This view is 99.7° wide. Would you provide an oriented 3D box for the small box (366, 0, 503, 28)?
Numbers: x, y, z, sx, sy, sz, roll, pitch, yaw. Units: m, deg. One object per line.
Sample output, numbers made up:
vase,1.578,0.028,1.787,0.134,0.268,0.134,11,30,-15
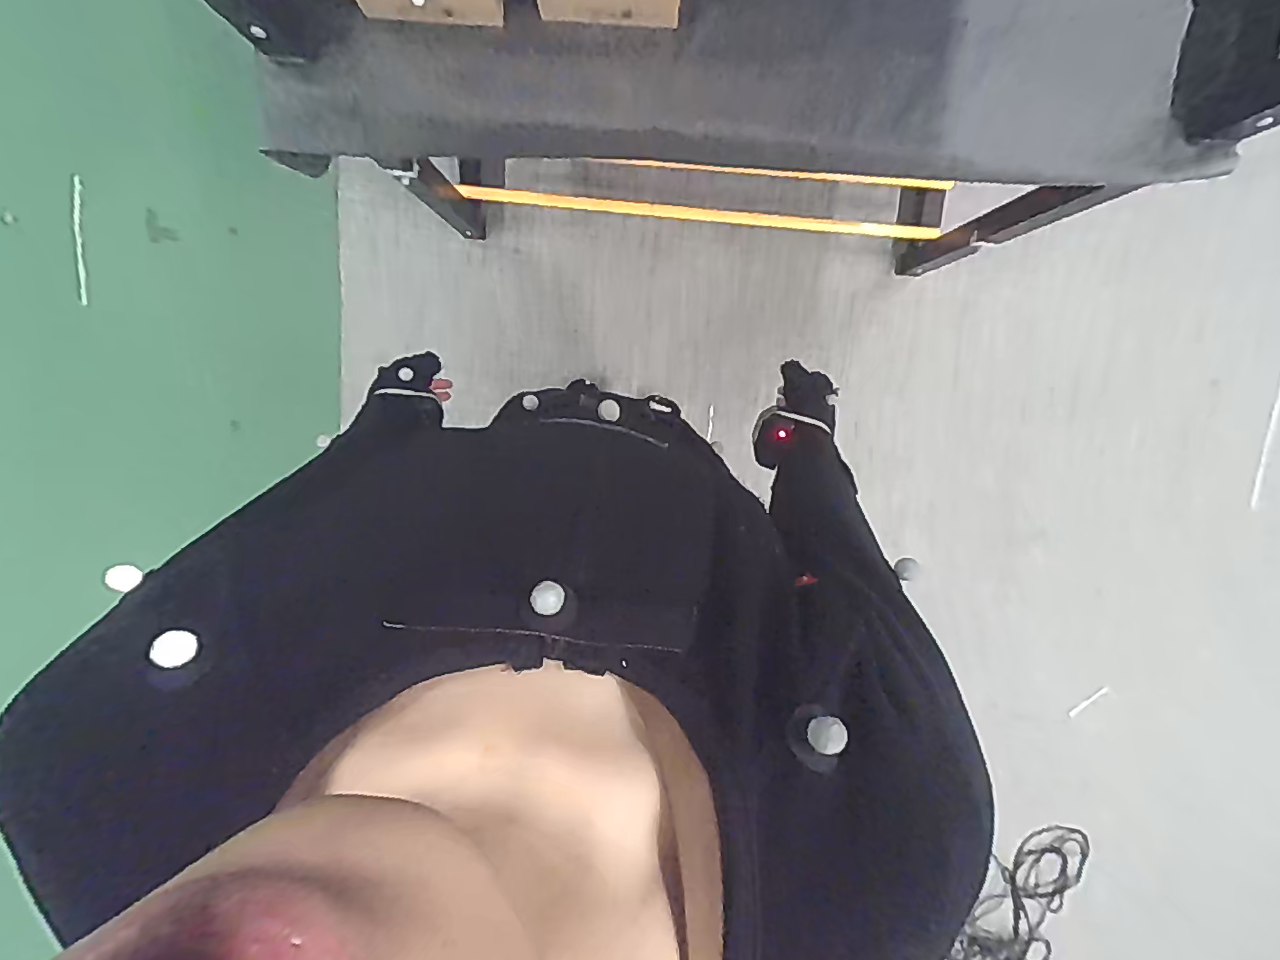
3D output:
small box,-0.238,-0.621,0.554,0.168,0.176,0.179,3,99,-1
